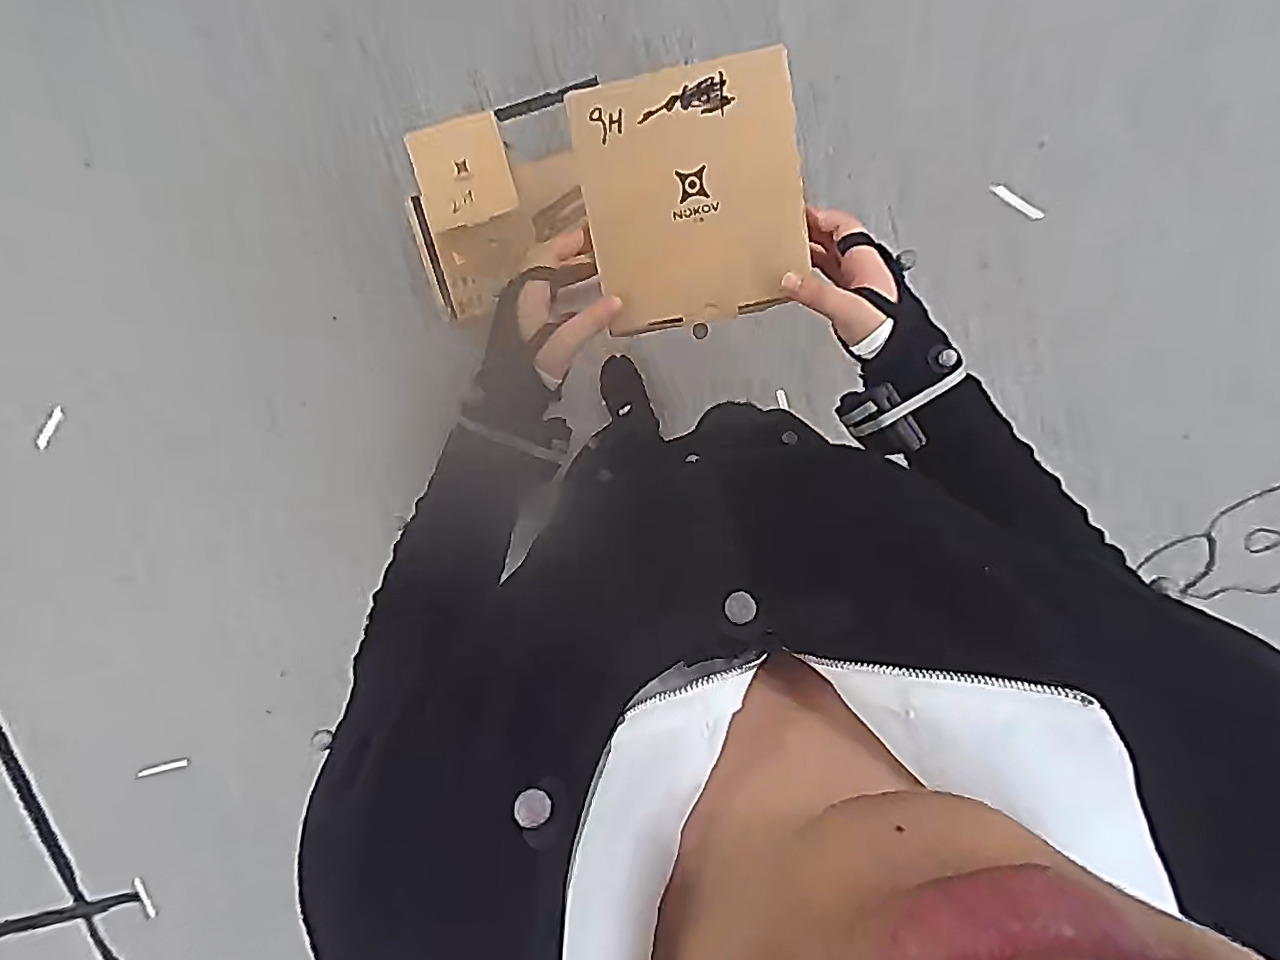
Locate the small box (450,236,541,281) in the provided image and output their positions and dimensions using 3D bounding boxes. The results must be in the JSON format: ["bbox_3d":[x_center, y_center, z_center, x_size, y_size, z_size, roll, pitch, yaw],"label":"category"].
[{"bbox_3d":[-0.333,-0.568,1.209,0.168,0.176,0.179,-17,99,2],"label":"small box"}]

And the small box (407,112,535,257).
[{"bbox_3d":[-0.315,-0.557,1.044,0.168,0.176,0.179,-15,98,2],"label":"small box"}]
